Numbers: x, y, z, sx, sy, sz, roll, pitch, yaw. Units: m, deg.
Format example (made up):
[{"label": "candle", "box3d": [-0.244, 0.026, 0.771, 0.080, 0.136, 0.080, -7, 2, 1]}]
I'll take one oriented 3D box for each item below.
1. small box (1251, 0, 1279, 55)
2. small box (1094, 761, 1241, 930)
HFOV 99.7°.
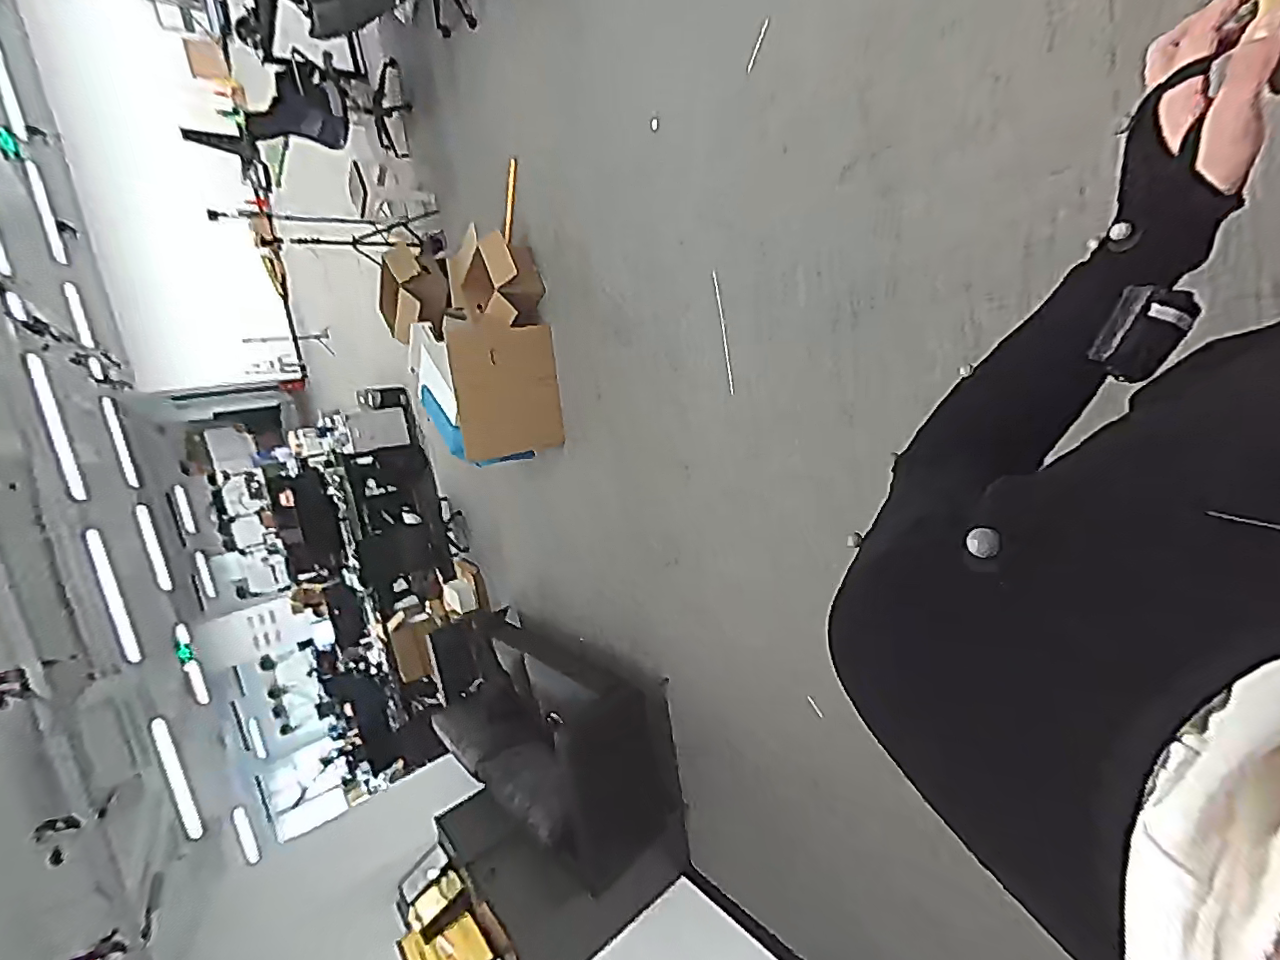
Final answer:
[{"label": "small box", "box3d": [0.488, -0.391, 0.314, 0.168, 0.176, 0.179, 2, 103, 51]}, {"label": "small box", "box3d": [1.021, 0.691, 1.048, 0.168, 0.176, 0.179, 18, 115, 49]}]
